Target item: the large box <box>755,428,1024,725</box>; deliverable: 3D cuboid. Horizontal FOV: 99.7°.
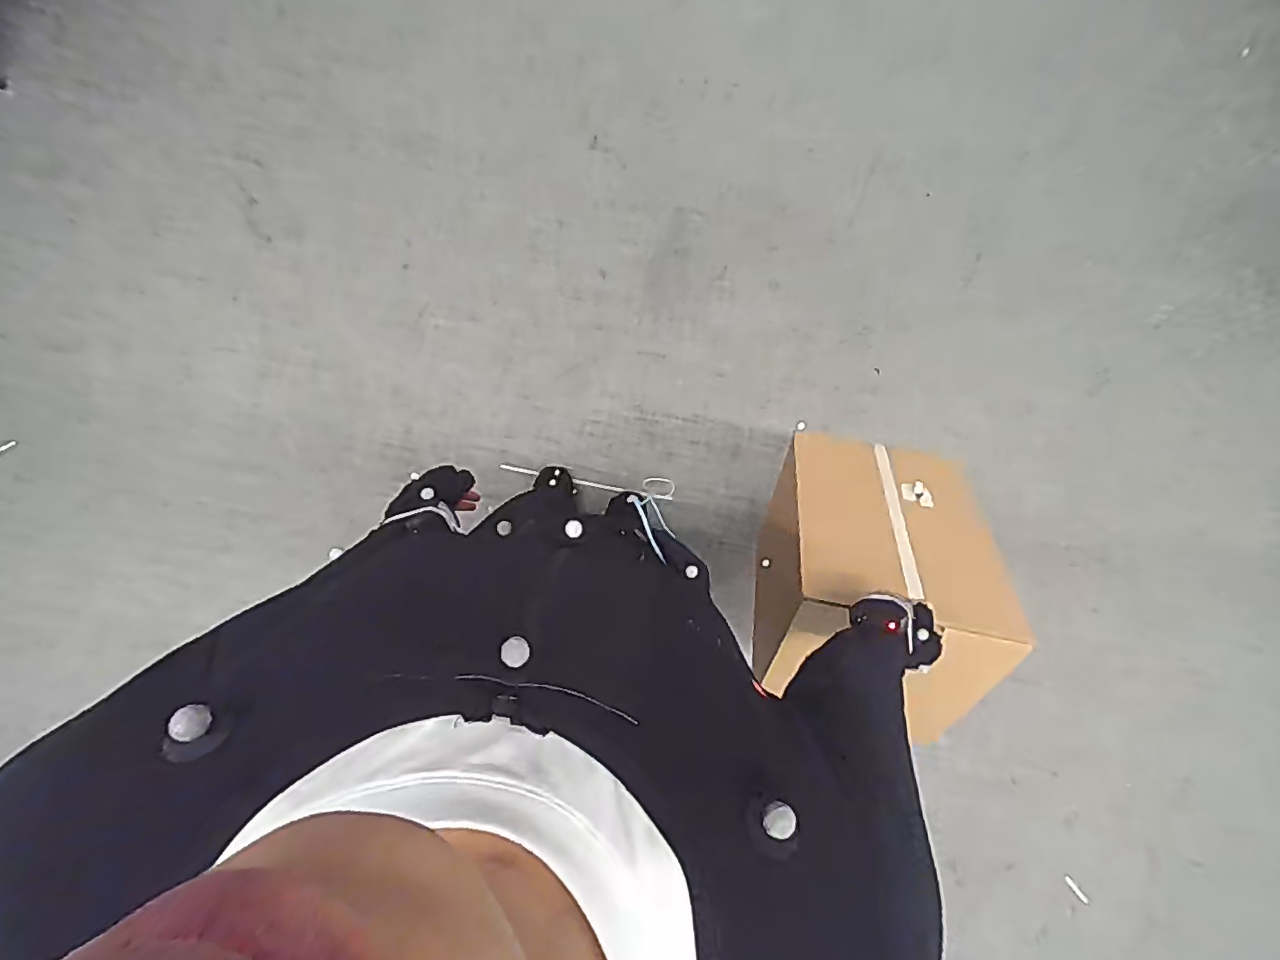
[{"bbox_3d":[0.397,0.164,0.989,0.320,0.408,0.320,12,131,4],"label":"large box"}]
